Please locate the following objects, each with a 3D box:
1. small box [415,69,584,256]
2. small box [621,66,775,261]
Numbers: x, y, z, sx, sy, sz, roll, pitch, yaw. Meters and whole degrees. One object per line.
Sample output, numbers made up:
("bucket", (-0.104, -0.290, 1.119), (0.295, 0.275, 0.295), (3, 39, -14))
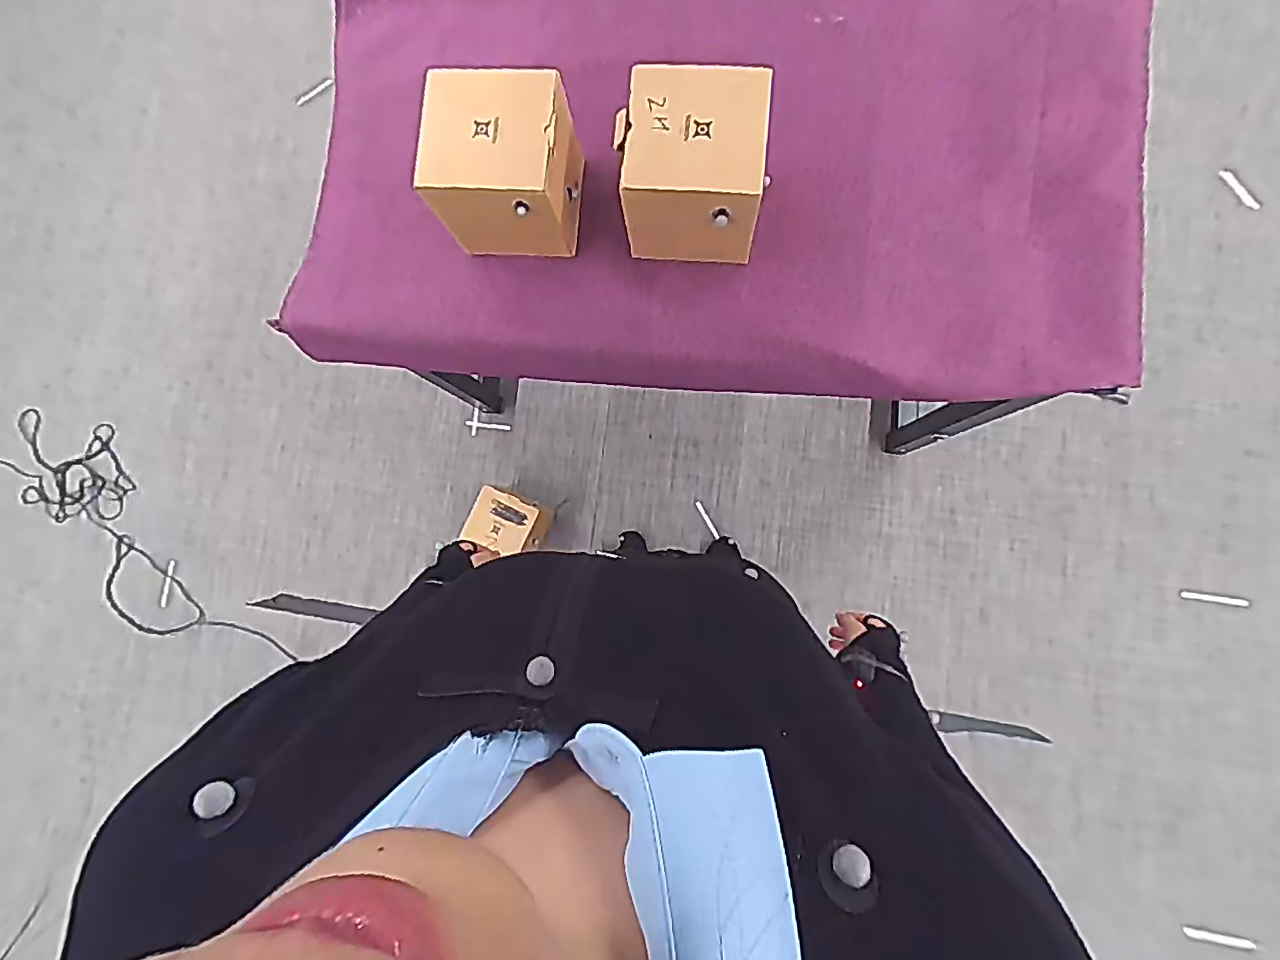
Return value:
("small box", (-0.187, -0.436, 0.766), (0.179, 0.176, 0.168), (4, 85, 5))
("small box", (0.078, -0.417, 0.738), (0.179, 0.176, 0.168), (5, 84, 6))
